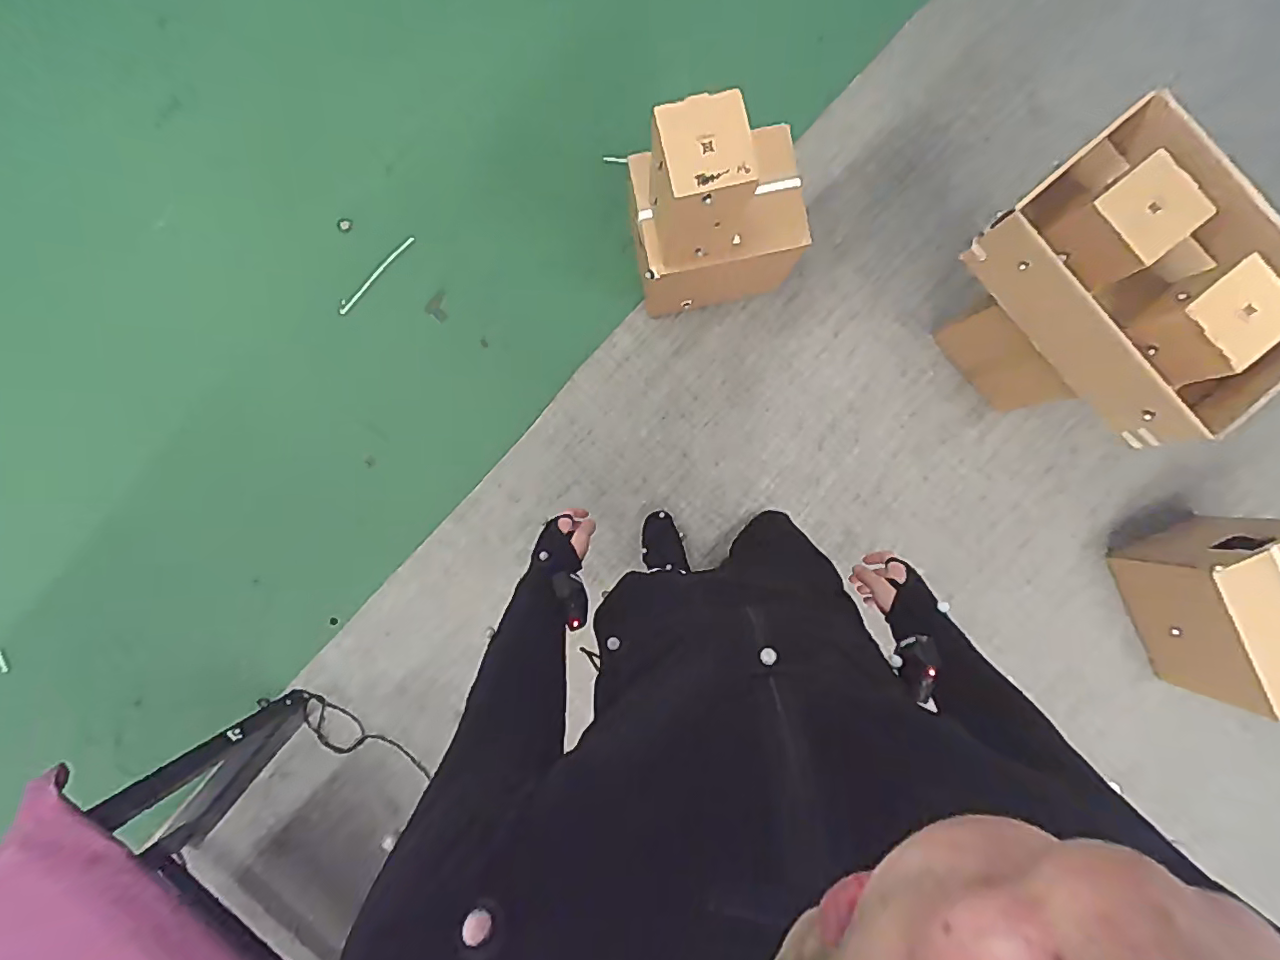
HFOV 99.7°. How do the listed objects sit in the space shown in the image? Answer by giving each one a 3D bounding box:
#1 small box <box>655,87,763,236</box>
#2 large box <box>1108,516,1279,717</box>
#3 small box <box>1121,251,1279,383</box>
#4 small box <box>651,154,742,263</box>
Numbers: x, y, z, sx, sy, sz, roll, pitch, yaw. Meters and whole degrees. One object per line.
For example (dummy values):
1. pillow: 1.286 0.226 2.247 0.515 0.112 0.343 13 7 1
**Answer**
1. small box: 0.126 -0.614 1.060 0.168 0.176 0.179 -13 89 -1
2. large box: 1.599 0.340 1.451 0.320 0.320 0.408 -24 88 -1
3. small box: 1.169 -0.325 1.115 0.179 0.176 0.168 -39 89 1
4. small box: 0.122 -0.622 1.224 0.168 0.176 0.179 -12 90 -1
